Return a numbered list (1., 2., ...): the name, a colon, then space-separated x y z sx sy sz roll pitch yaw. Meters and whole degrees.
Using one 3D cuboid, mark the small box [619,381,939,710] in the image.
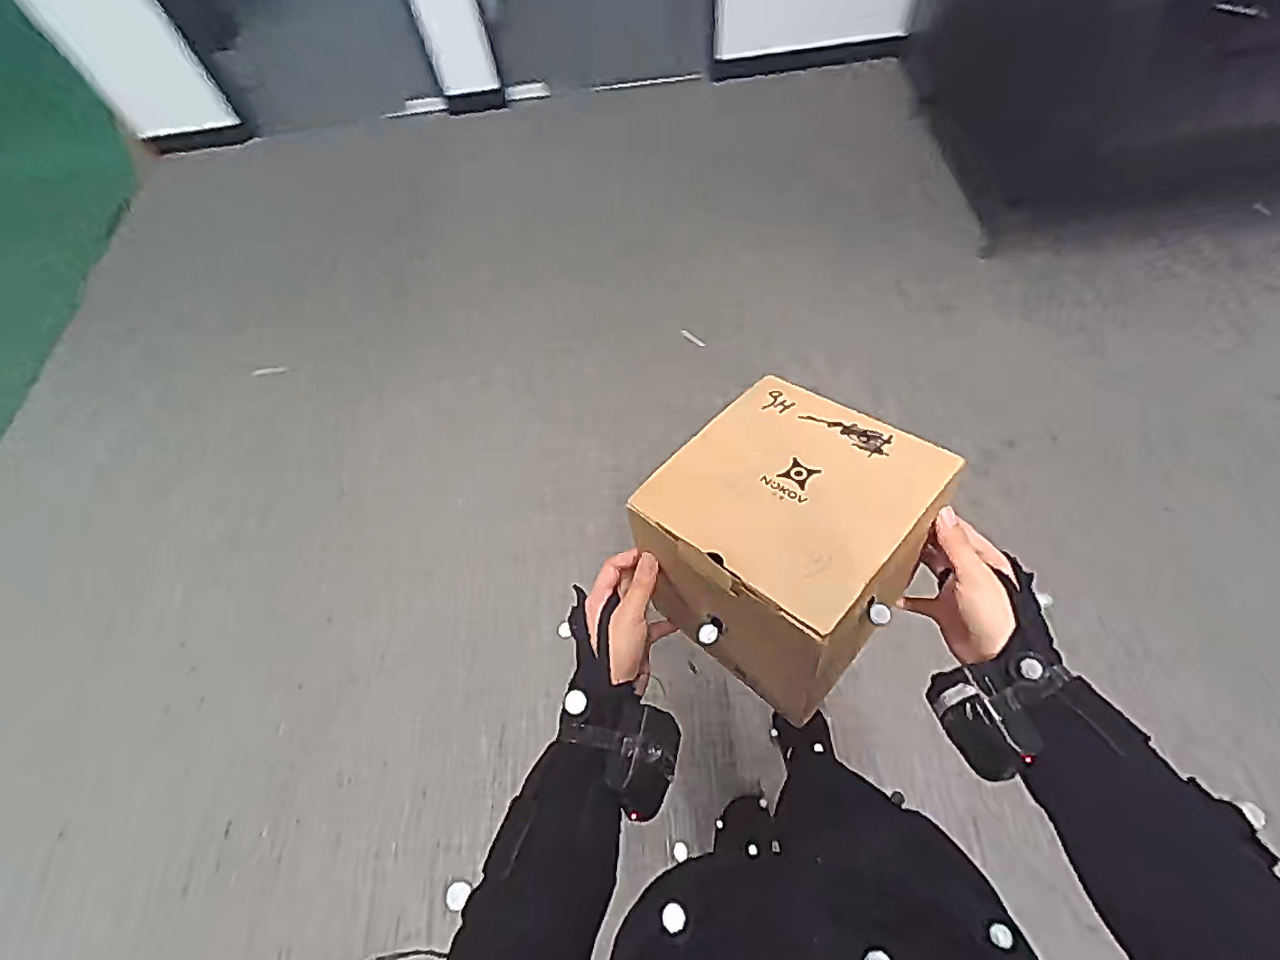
1. small box: 0.111 0.055 0.451 0.168 0.176 0.179 32 63 32
